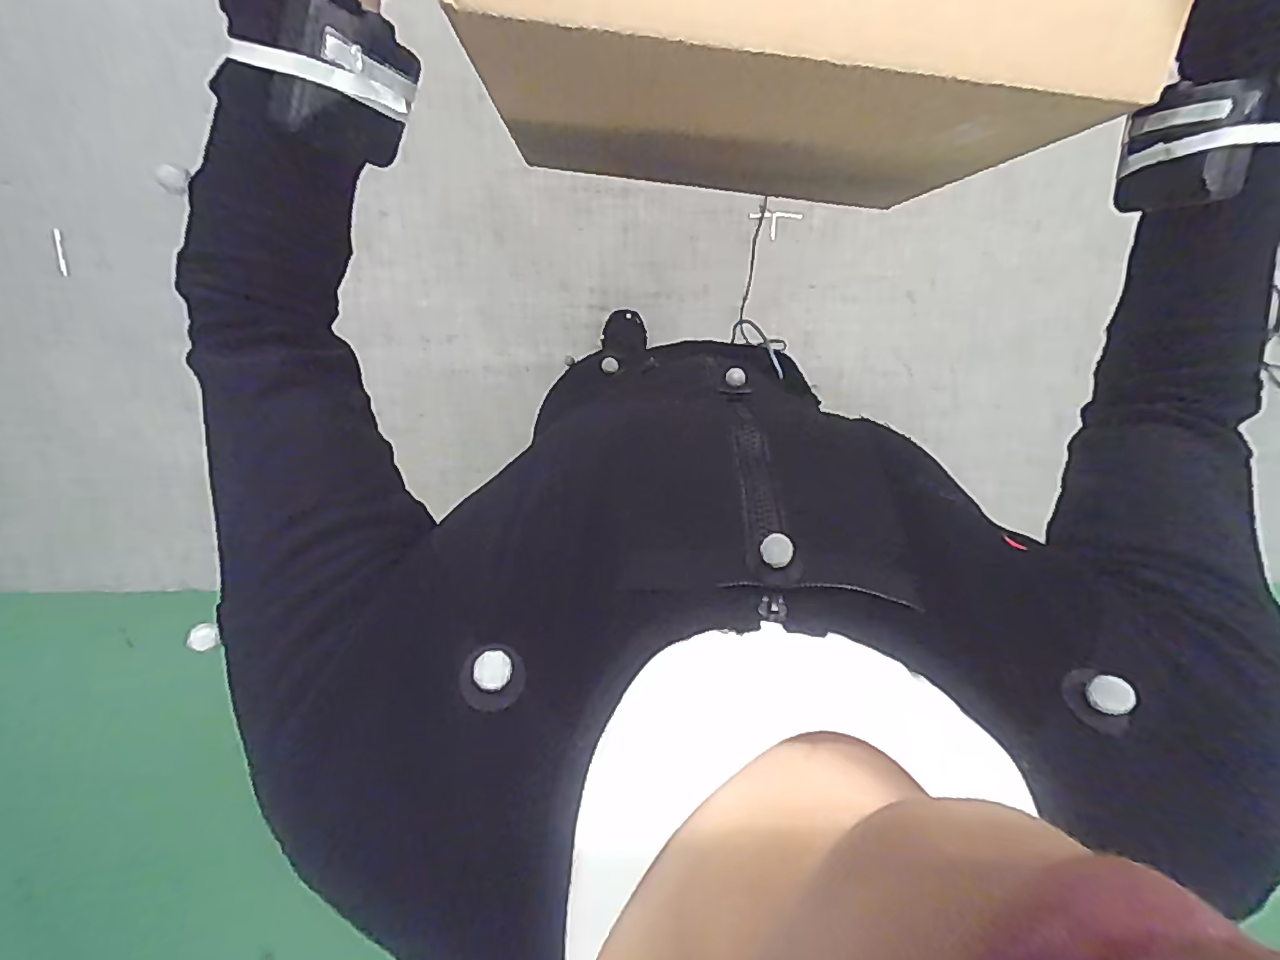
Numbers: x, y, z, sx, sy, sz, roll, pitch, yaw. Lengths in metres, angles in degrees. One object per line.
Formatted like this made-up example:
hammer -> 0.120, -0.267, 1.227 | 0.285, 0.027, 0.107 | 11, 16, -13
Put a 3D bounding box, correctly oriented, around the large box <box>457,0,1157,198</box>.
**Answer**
large box -> 0.097, -0.428, 0.409 | 0.408, 0.320, 0.320 | 4, 107, -4
